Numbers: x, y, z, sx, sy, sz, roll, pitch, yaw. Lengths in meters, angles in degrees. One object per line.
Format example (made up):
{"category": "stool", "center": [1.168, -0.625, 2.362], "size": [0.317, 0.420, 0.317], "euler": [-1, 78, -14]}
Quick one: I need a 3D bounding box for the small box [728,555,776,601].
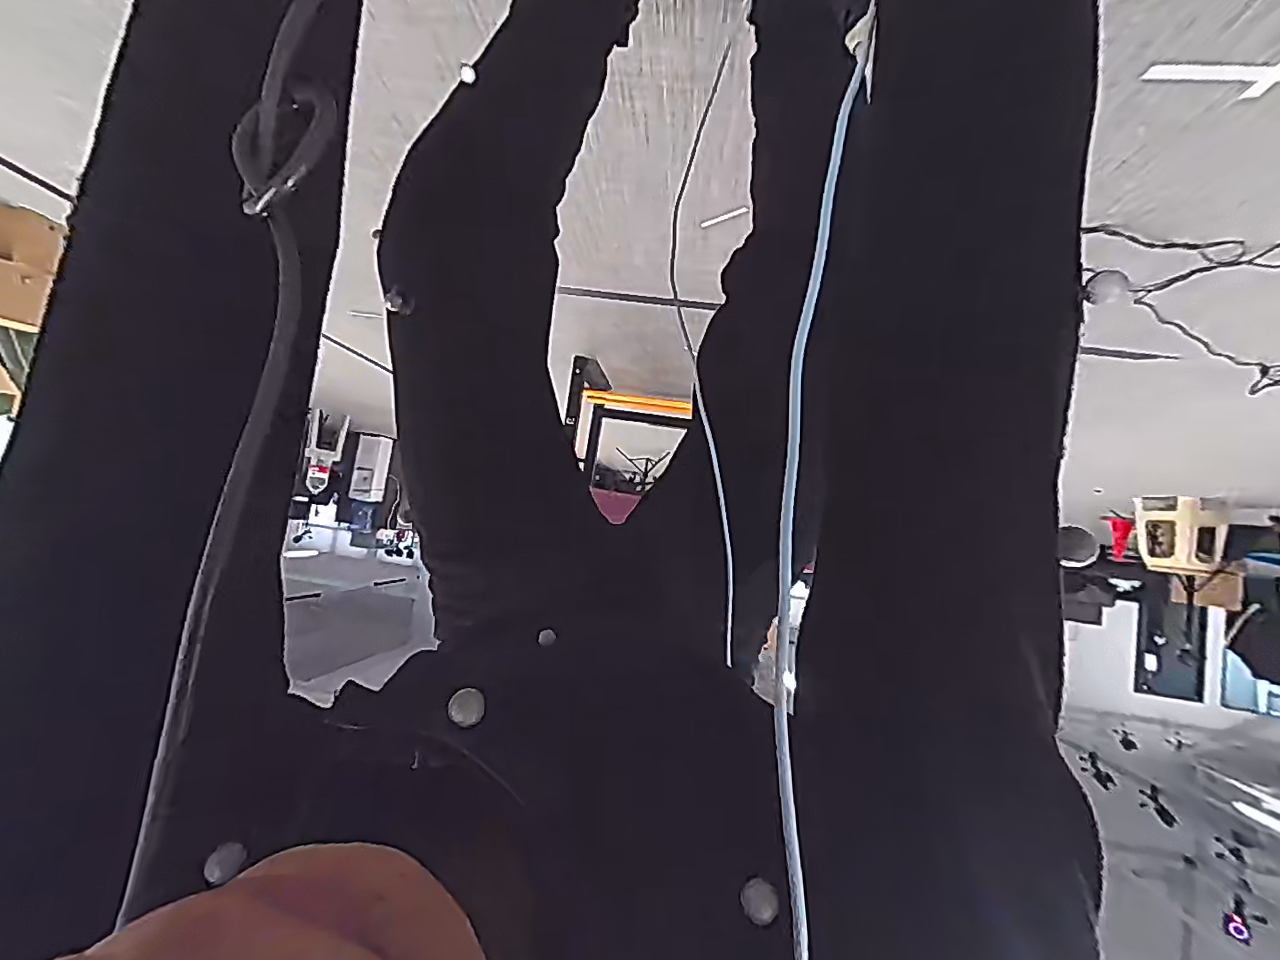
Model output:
{"category": "small box", "center": [0.479, 0.414, 2.309], "size": [0.168, 0.176, 0.179], "euler": [9, 175, 2]}

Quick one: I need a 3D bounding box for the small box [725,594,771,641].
{"category": "small box", "center": [0.460, 0.577, 2.306], "size": [0.168, 0.176, 0.179], "euler": [8, 176, 6]}
